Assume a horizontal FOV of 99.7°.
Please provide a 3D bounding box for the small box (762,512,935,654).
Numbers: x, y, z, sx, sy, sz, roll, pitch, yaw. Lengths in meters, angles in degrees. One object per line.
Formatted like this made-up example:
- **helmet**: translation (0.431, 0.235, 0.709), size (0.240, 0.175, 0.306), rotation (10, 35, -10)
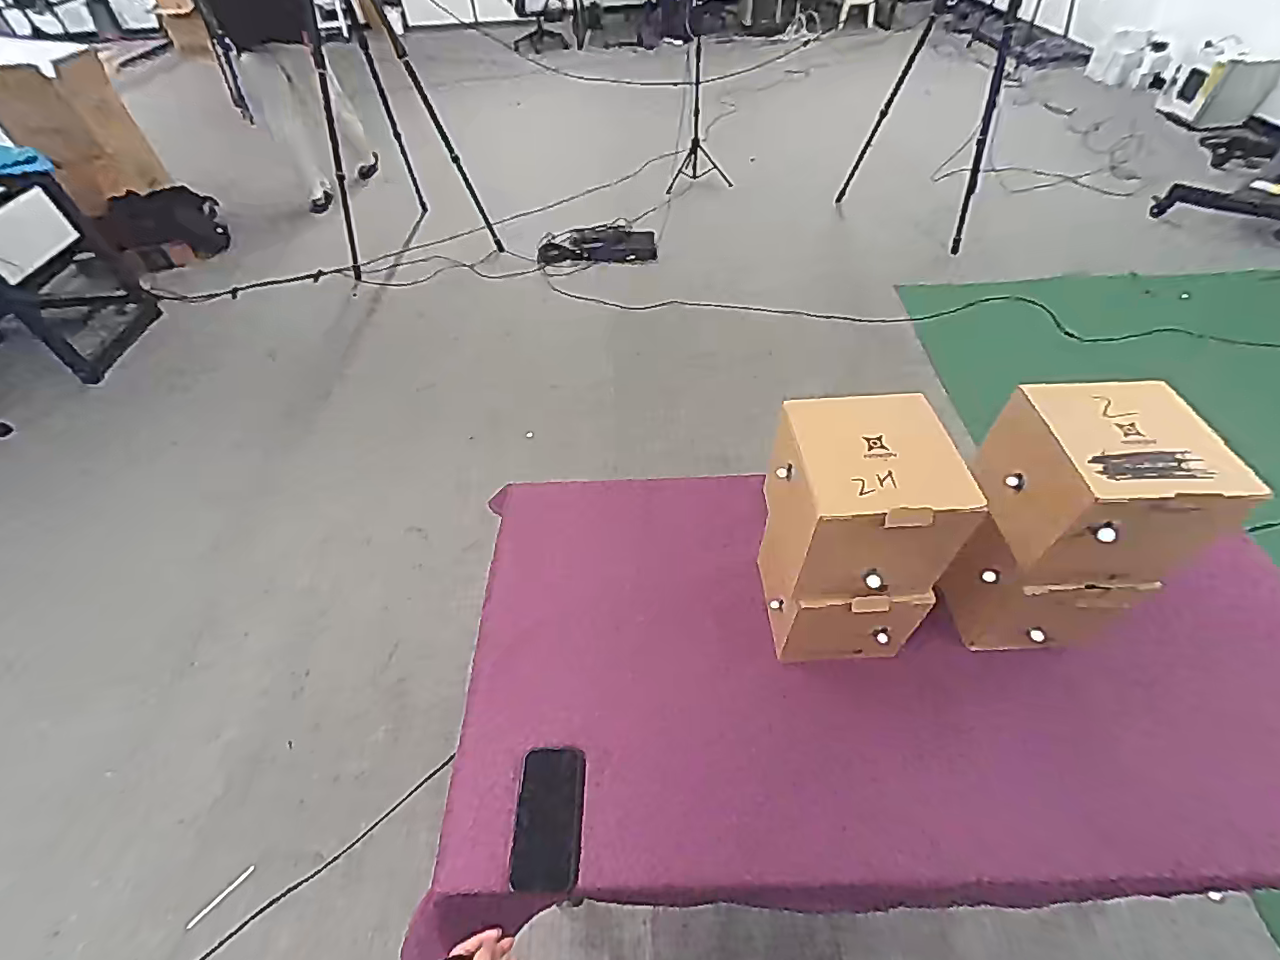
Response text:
- **small box**: translation (0.272, 0.133, 0.754), size (0.168, 0.176, 0.179), rotation (-3, 49, 1)

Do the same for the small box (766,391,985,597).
- **small box**: translation (0.252, 0.018, 0.636), size (0.168, 0.176, 0.179), rotation (-4, 50, 1)

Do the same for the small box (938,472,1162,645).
- **small box**: translation (0.537, 0.110, 0.753), size (0.168, 0.176, 0.179), rotation (-4, 50, 1)
